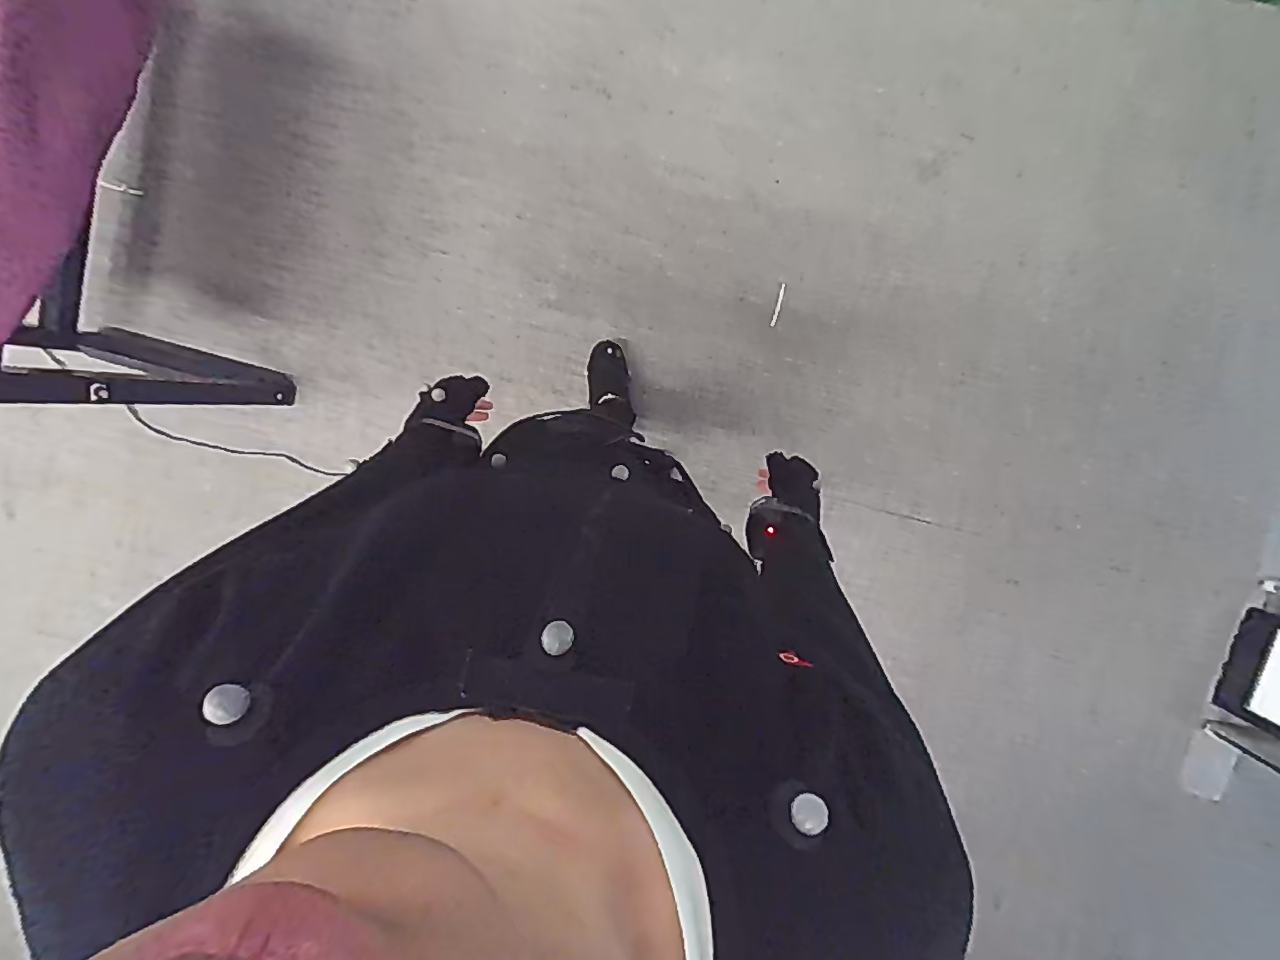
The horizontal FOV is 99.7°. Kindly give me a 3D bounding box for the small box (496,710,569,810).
[{"bbox_3d":[-0.306,0.766,1.497,0.179,0.176,0.168,14,97,1],"label":"small box"}]
